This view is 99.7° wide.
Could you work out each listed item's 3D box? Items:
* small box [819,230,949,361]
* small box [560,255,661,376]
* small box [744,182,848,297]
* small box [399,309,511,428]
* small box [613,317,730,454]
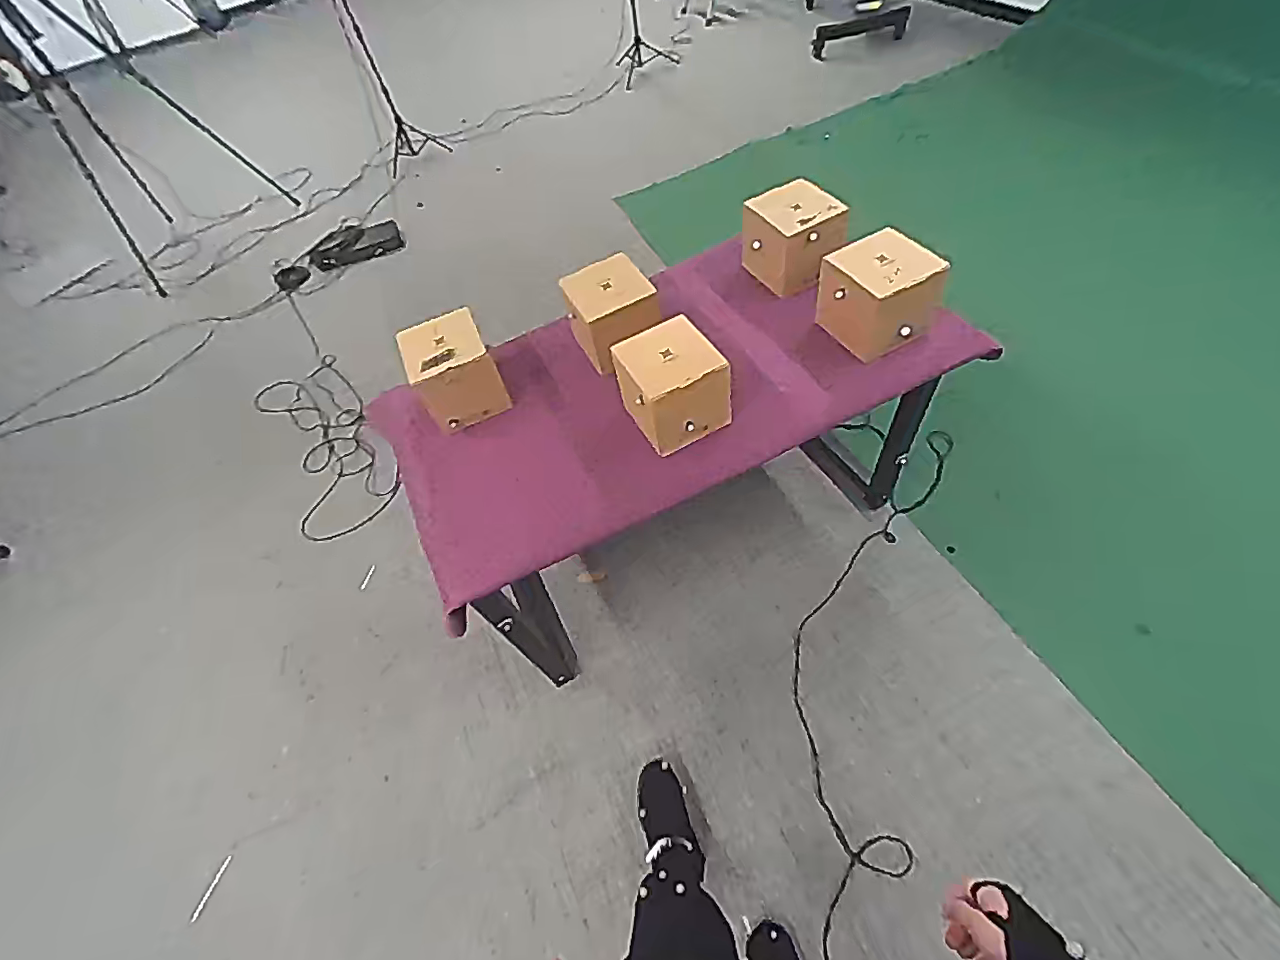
[{"bbox_3d":[0.496,-0.384,1.135,0.168,0.176,0.179,-26,55,-6],"label":"small box"},{"bbox_3d":[-0.061,-0.370,1.230,0.168,0.176,0.179,-26,56,-8],"label":"small box"},{"bbox_3d":[0.362,-0.571,1.291,0.168,0.176,0.179,-28,55,-8],"label":"small box"},{"bbox_3d":[-0.402,-0.236,1.192,0.168,0.176,0.179,-24,56,-8],"label":"small box"},{"bbox_3d":[0.065,-0.186,1.081,0.168,0.176,0.179,-27,55,-9],"label":"small box"}]
